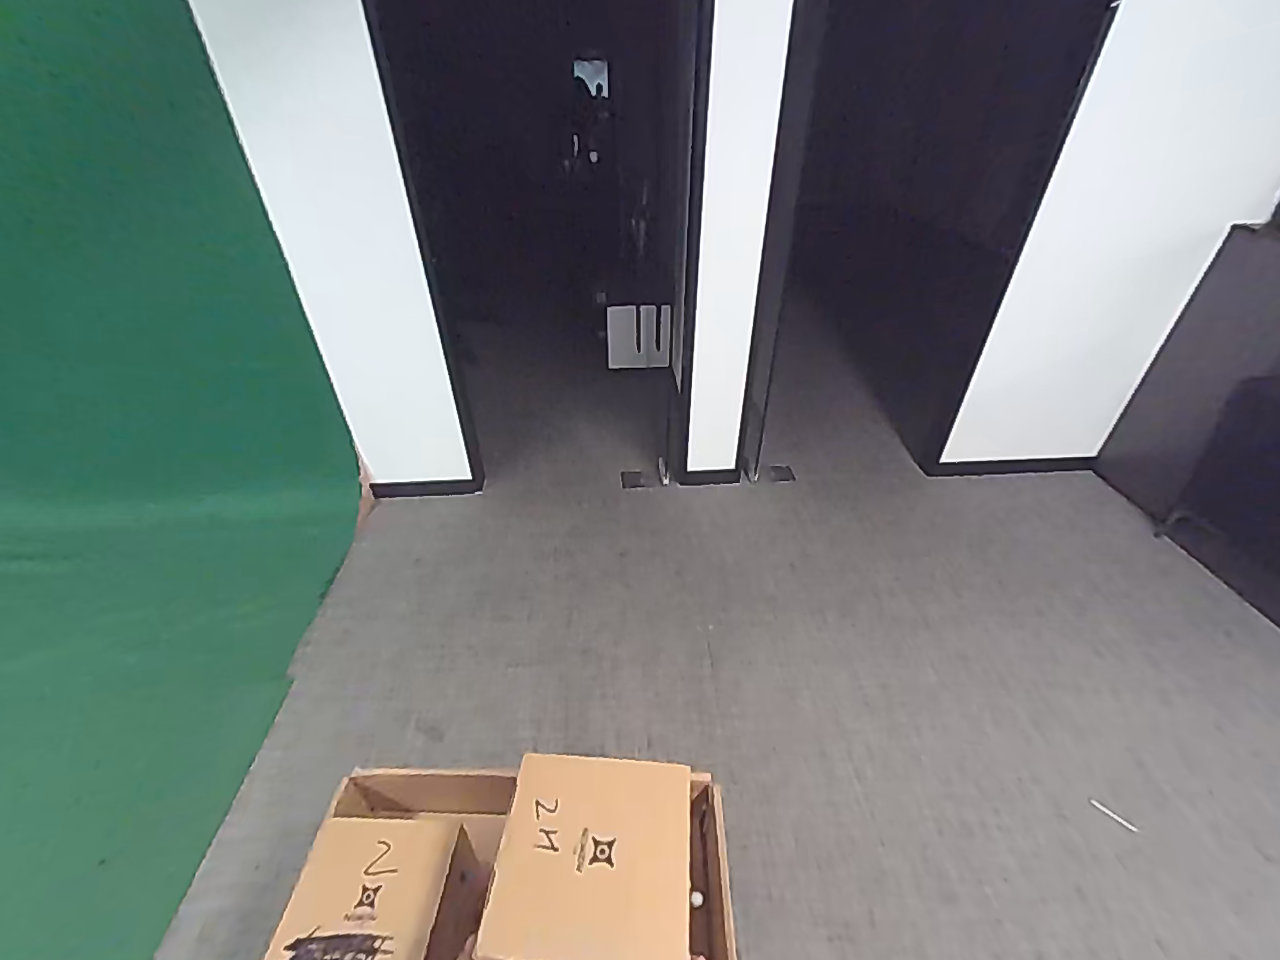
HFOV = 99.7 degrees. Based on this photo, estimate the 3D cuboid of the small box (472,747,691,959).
[{"bbox_3d":[-0.041,0.396,0.542,0.179,0.176,0.168,2,37,6],"label":"small box"}]
